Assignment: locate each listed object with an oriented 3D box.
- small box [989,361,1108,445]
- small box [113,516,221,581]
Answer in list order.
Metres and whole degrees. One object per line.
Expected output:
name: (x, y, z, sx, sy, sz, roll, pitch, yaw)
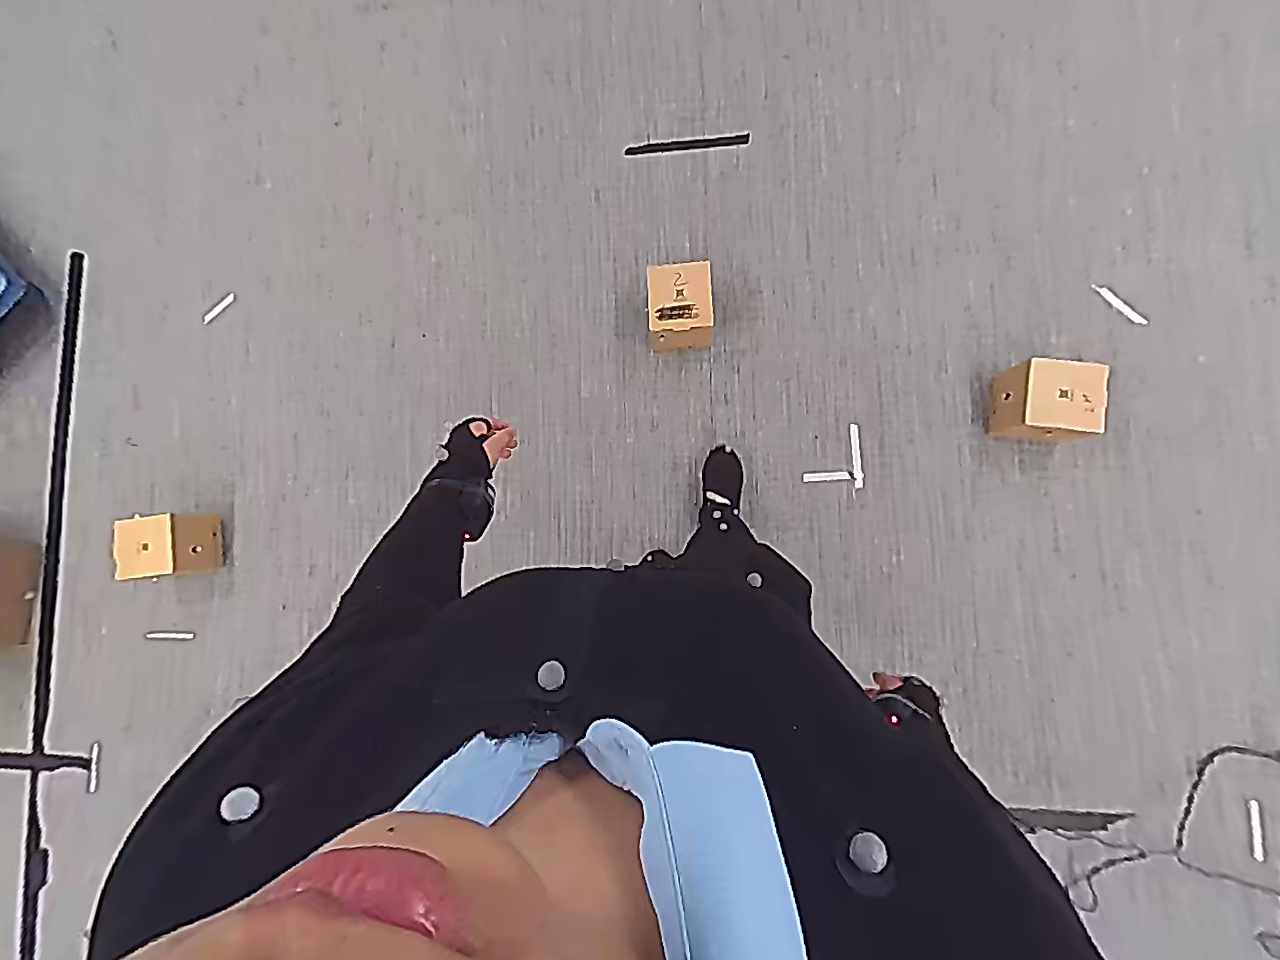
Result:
small box: (1.010, -0.186, 1.351, 0.179, 0.176, 0.168, 8, 87, 6)
small box: (-1.347, 0.192, 1.554, 0.179, 0.176, 0.168, -8, 85, 5)
